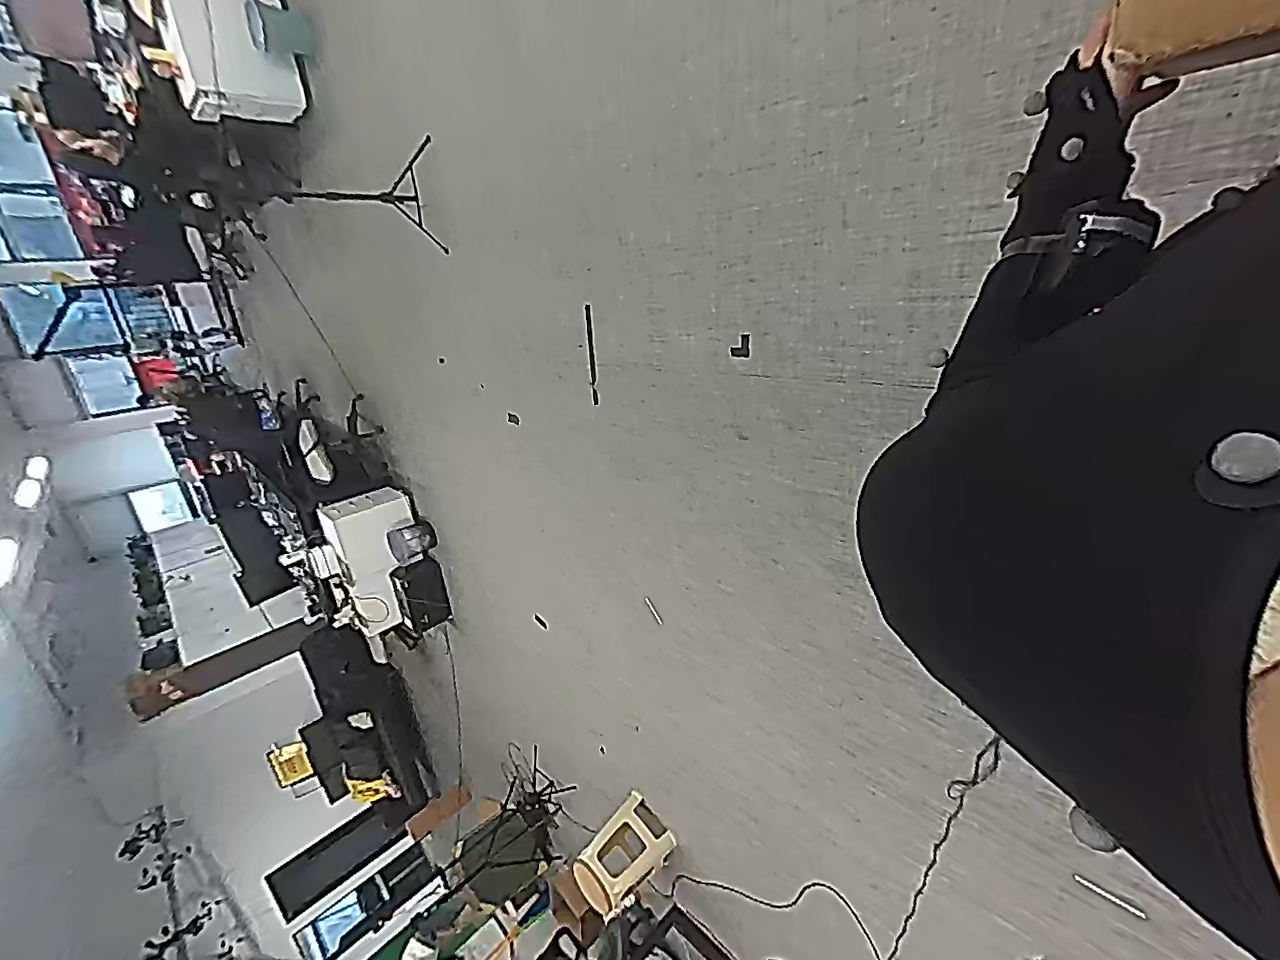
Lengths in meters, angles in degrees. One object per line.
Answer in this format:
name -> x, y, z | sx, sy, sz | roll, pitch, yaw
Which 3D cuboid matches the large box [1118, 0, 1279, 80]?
large box -> 0.412, -0.353, 0.135 | 0.408, 0.320, 0.320 | 10, 124, 42
